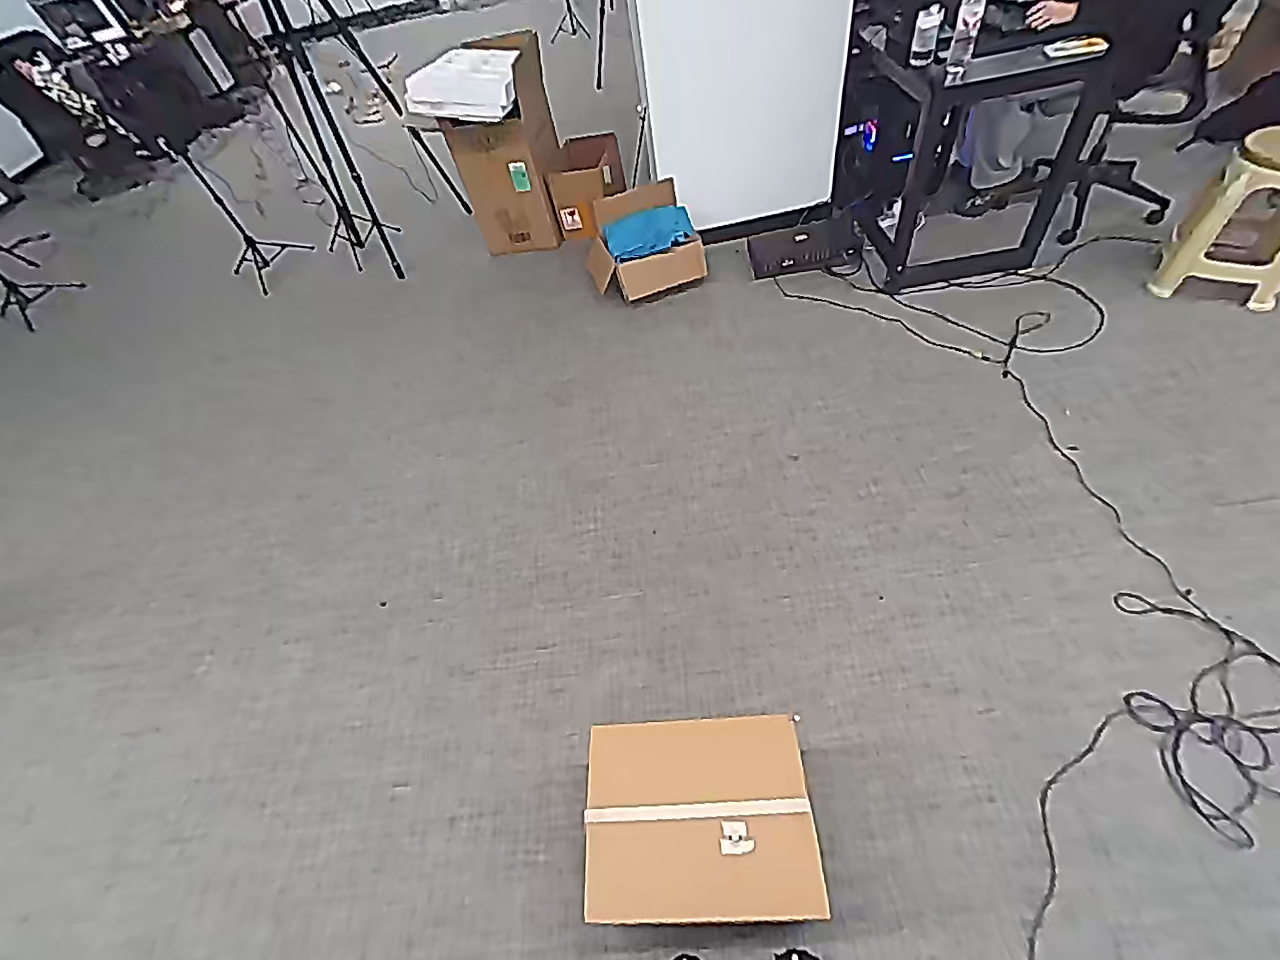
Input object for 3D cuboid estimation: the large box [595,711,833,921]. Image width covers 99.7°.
[{"bbox_3d":[0.135,0.687,1.096,0.408,0.320,0.320,-6,51,6],"label":"large box"}]
